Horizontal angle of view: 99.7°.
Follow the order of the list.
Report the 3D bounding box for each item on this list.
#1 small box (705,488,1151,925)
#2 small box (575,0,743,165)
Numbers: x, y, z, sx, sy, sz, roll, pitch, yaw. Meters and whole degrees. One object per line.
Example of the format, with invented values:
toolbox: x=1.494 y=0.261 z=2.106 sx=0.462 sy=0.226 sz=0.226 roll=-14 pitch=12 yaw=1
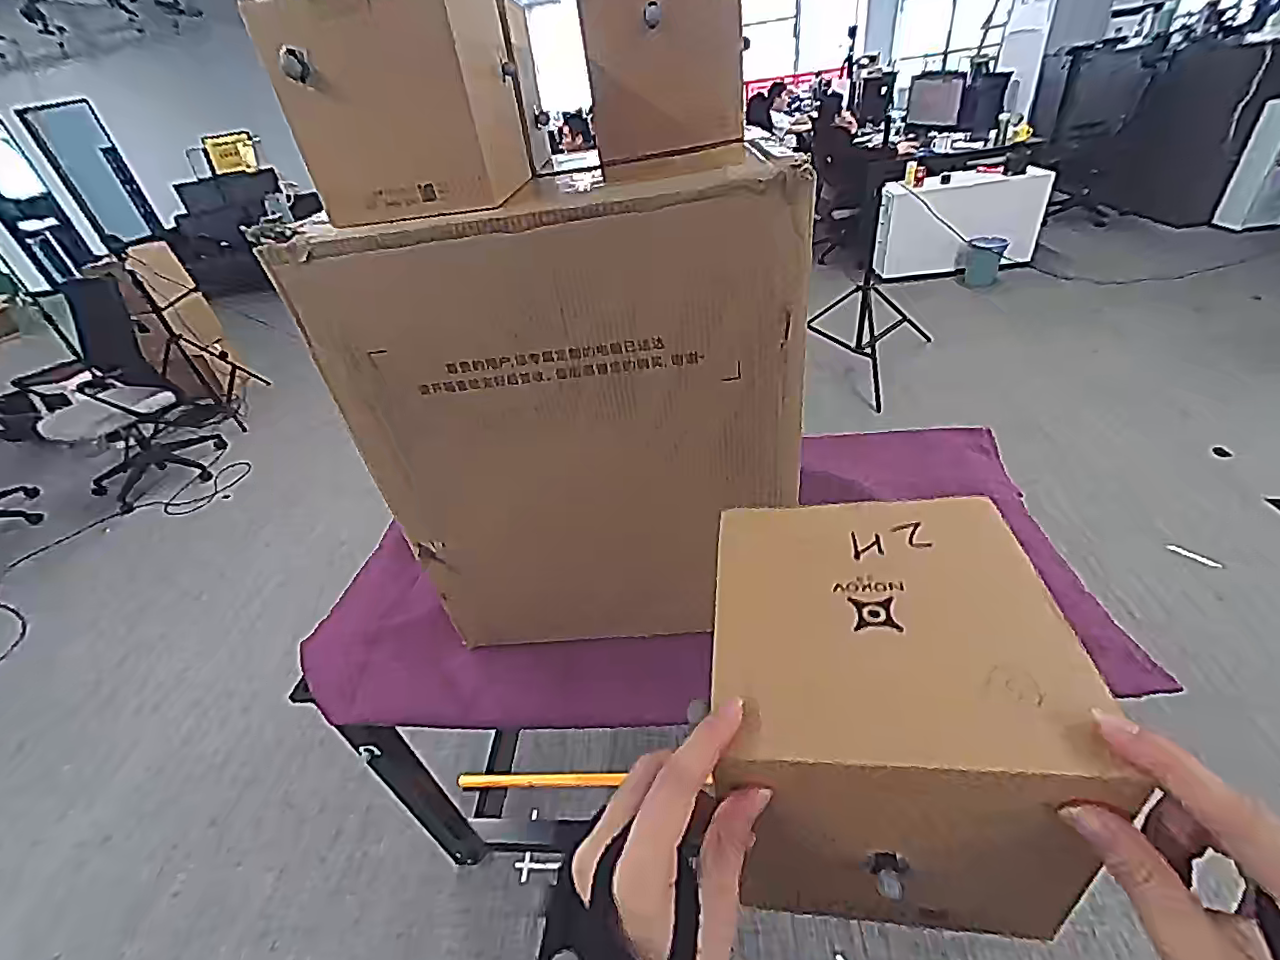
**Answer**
small box: x=0.135 y=0.125 z=0.322 sx=0.168 sy=0.176 sz=0.179 roll=-3 pitch=34 yaw=13
small box: x=0.030 y=-0.501 z=0.656 sx=0.179 sy=0.176 sz=0.168 roll=-7 pitch=36 yaw=6
